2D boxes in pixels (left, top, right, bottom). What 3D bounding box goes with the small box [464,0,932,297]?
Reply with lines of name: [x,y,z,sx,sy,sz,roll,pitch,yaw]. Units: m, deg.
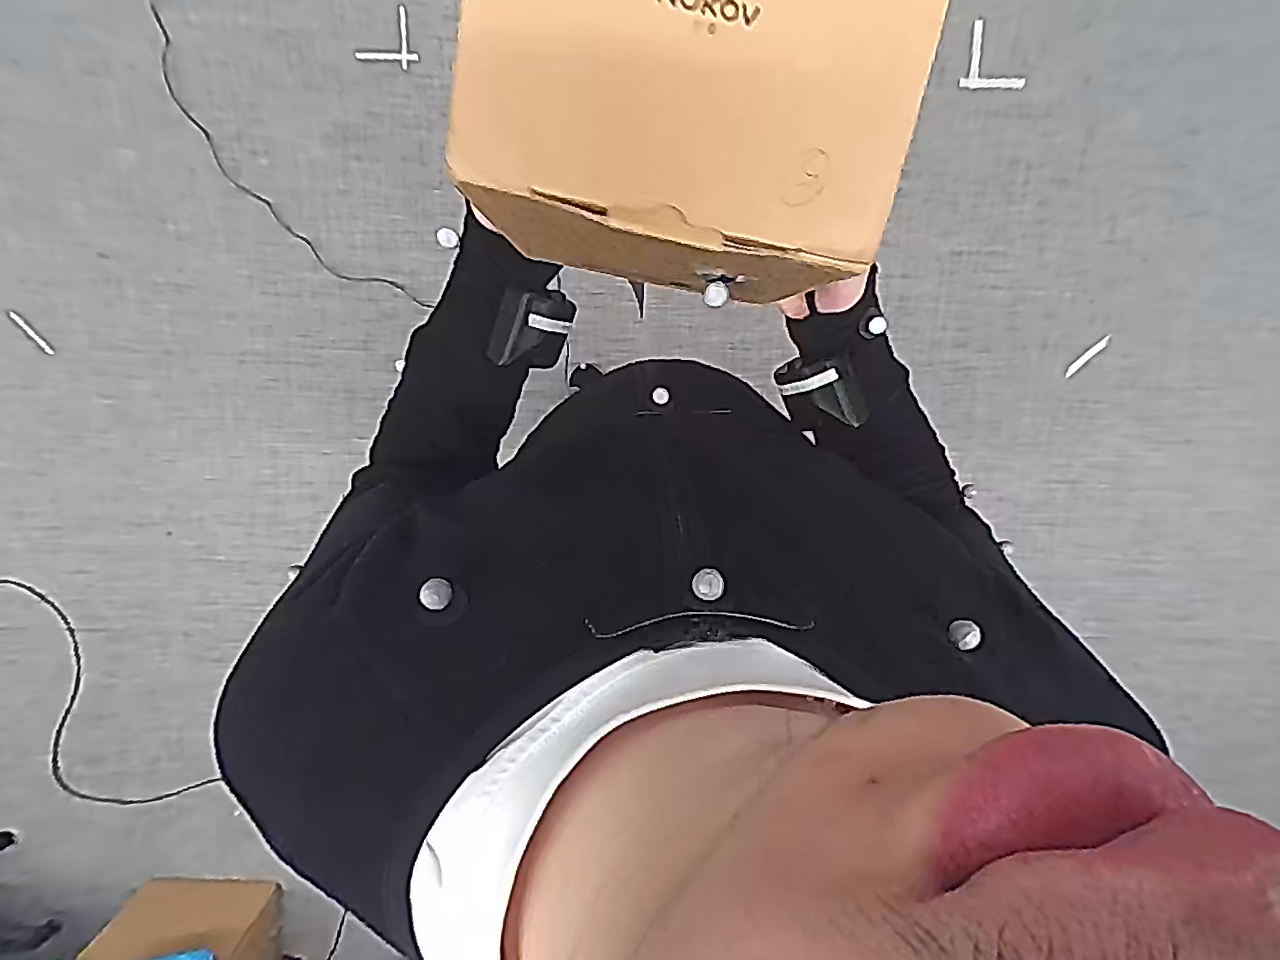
small box: [0.022,-0.199,0.274,0.168,0.176,0.179,9,103,-6]
